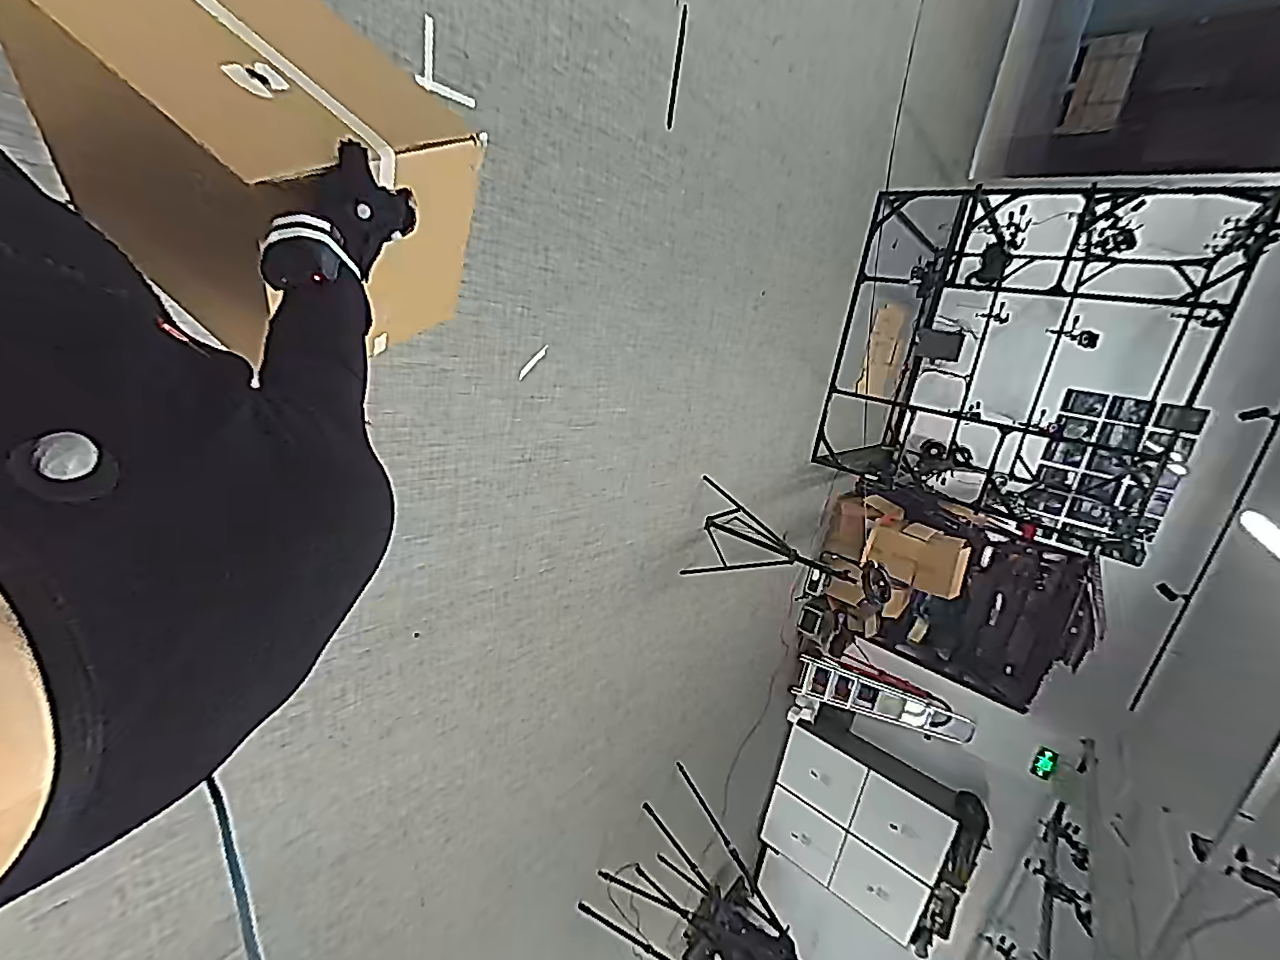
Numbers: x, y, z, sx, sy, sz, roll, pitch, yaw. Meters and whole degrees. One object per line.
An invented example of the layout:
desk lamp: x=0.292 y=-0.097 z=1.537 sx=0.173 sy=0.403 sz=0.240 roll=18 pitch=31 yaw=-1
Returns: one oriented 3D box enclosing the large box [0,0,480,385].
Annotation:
large box: x=-0.496 y=-0.409 z=0.722 sx=0.320 sy=0.408 sz=0.320 roll=-47 pitch=177 yaw=-40
